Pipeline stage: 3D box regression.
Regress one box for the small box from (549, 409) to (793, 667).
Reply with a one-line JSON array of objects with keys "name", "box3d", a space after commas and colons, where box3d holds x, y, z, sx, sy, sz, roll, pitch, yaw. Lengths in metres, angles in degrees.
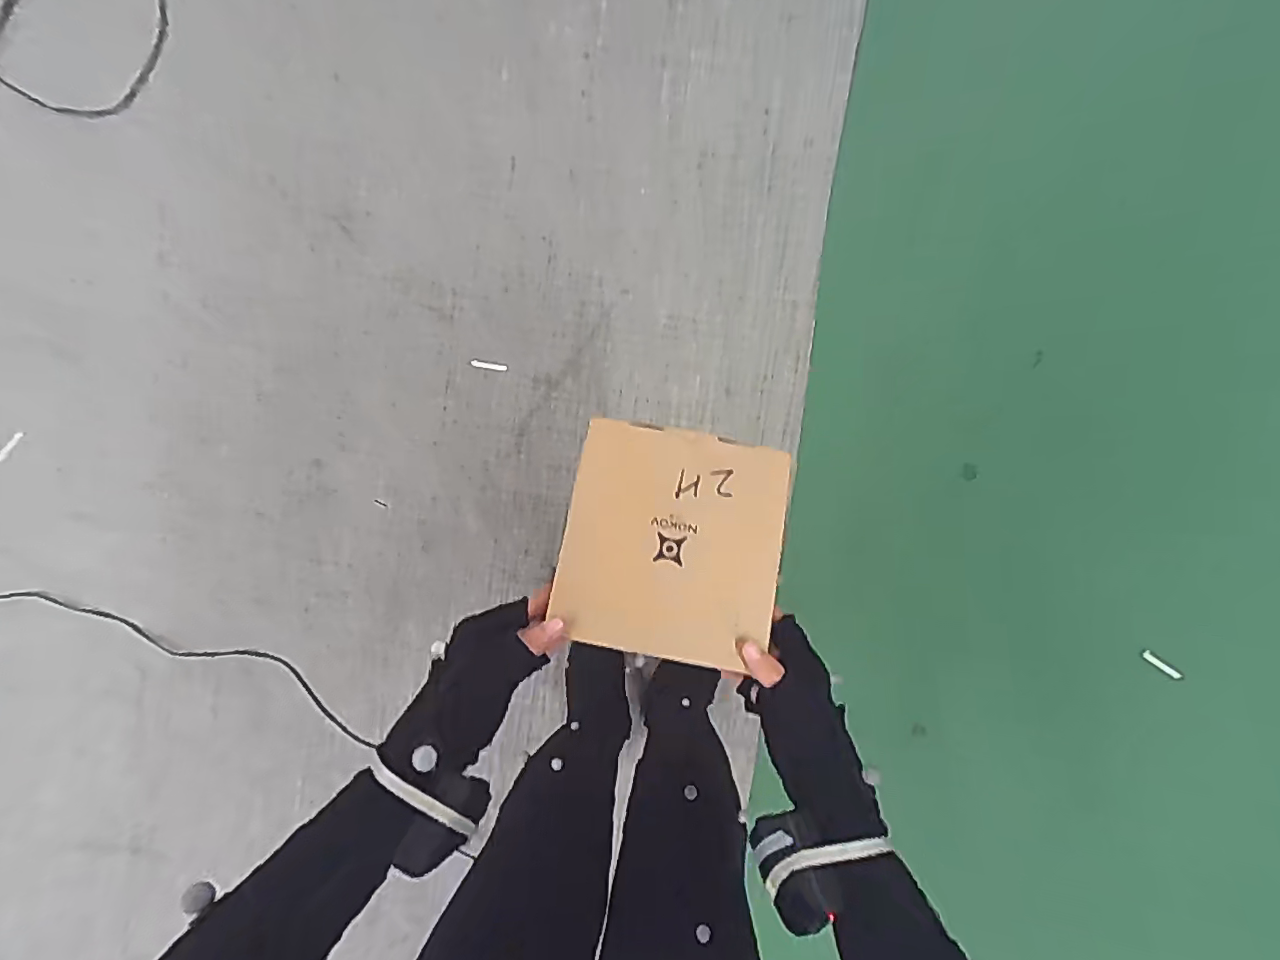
[{"name": "small box", "box3d": [0.026, 0.058, 0.492, 0.168, 0.176, 0.179, 11, 76, 1]}]
